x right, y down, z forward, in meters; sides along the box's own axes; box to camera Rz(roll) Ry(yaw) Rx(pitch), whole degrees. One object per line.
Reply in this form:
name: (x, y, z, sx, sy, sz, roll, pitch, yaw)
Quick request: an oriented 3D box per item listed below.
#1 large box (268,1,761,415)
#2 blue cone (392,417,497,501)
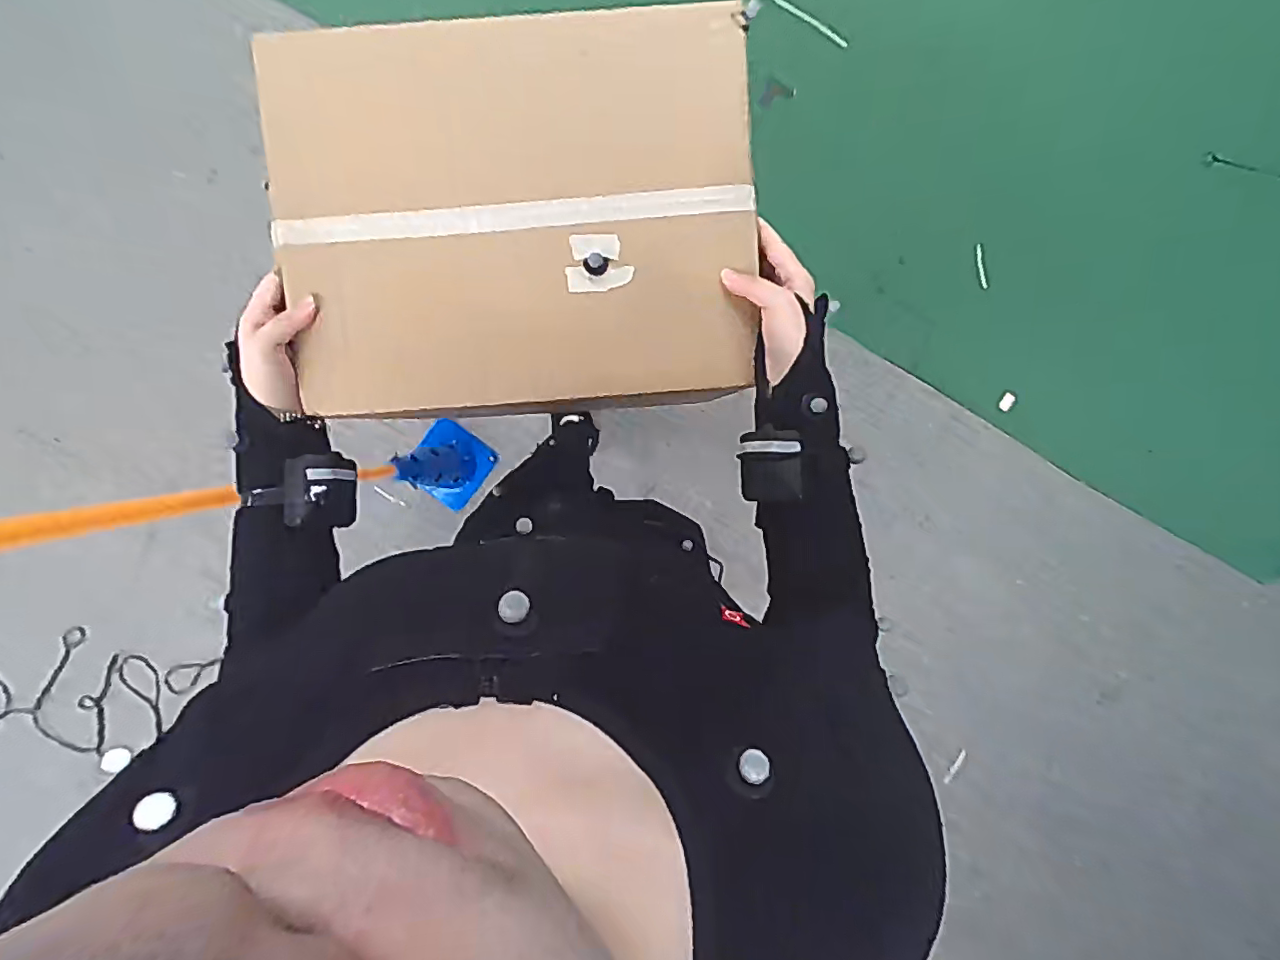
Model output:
large box: (-0.107, -0.250, 0.615, 0.408, 0.320, 0.320, -5, 97, -1)
blue cone: (-0.508, -0.046, 1.310, 0.193, 0.380, 0.192, 39, 92, -3)
